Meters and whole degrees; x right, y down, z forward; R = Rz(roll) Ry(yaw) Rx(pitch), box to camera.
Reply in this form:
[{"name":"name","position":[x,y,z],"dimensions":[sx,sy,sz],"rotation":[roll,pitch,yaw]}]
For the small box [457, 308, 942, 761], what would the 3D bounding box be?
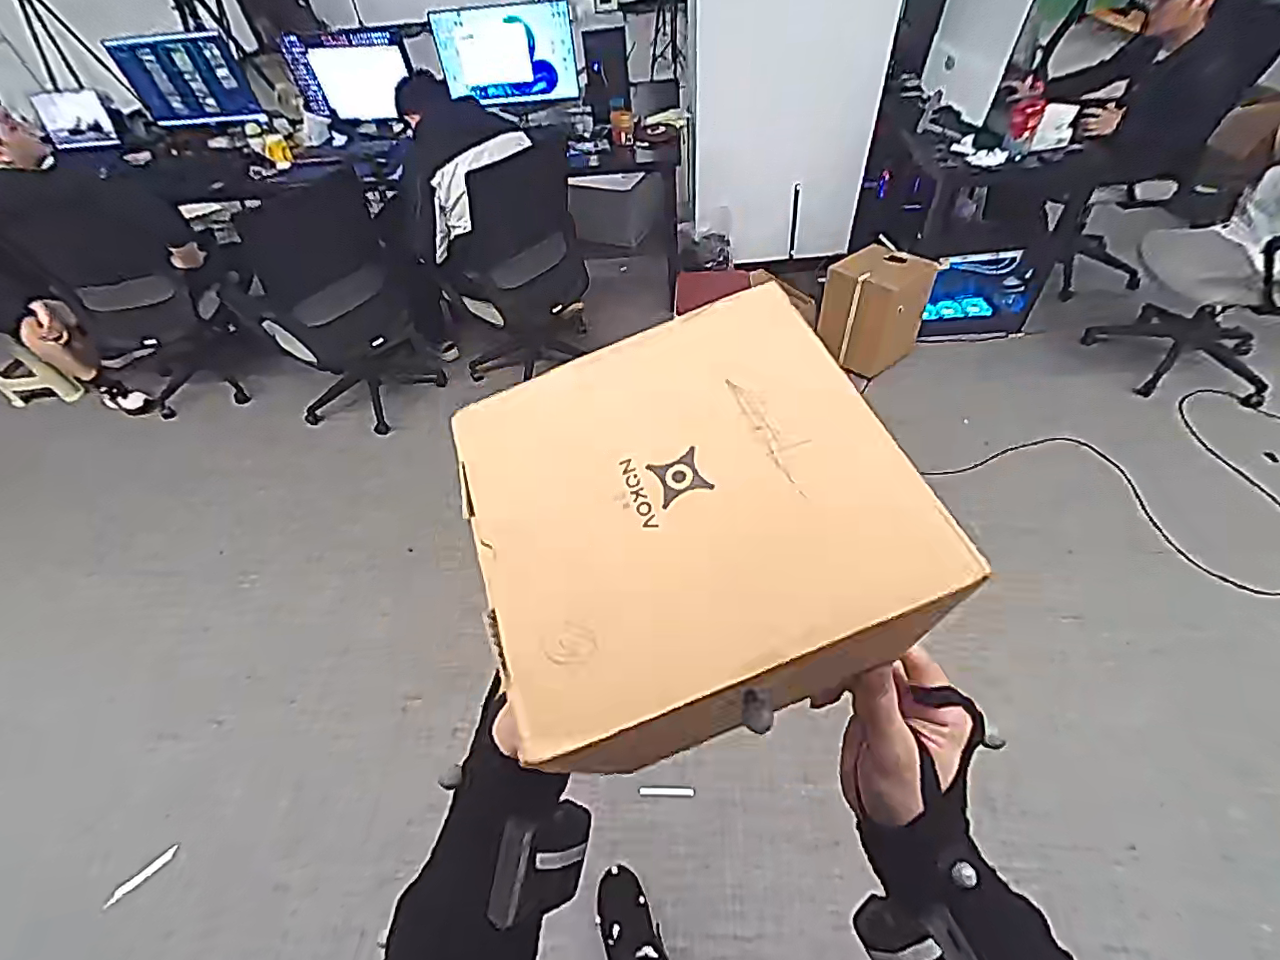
[{"name":"small box","position":[0.026,0.044,0.309],"dimensions":[0.179,0.176,0.168],"rotation":[-23,59,-1]}]
